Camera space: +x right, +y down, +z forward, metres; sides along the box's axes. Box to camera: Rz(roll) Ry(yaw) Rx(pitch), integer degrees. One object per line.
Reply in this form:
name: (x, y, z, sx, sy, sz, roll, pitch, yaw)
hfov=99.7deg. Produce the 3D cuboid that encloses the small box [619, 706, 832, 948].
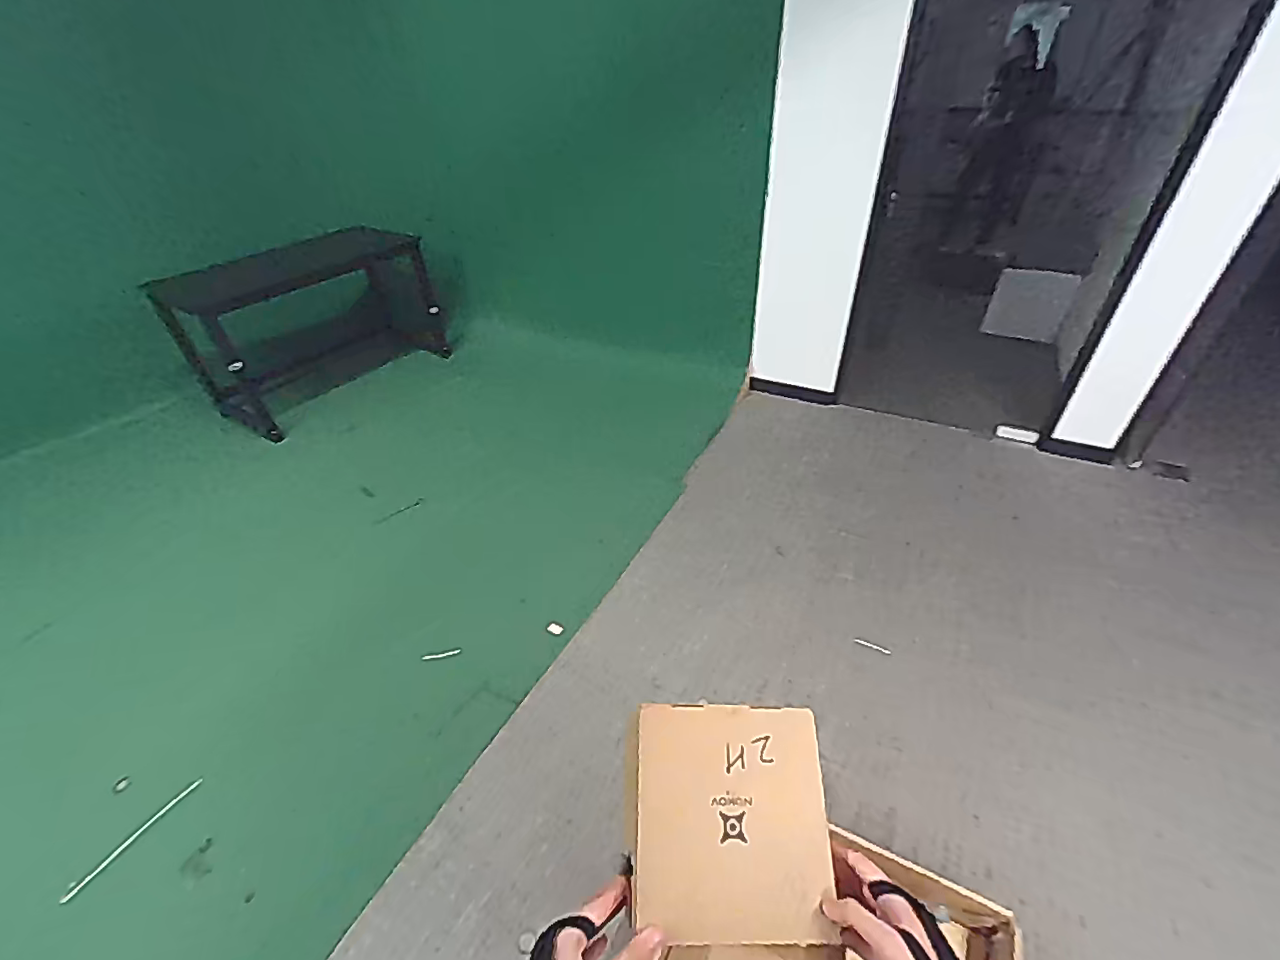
small box: (0.067, 0.326, 0.534, 0.168, 0.176, 0.179, 2, 61, -5)

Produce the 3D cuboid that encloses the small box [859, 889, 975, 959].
small box: (0.520, 0.934, 1.034, 0.179, 0.176, 0.168, 11, 42, 19)
